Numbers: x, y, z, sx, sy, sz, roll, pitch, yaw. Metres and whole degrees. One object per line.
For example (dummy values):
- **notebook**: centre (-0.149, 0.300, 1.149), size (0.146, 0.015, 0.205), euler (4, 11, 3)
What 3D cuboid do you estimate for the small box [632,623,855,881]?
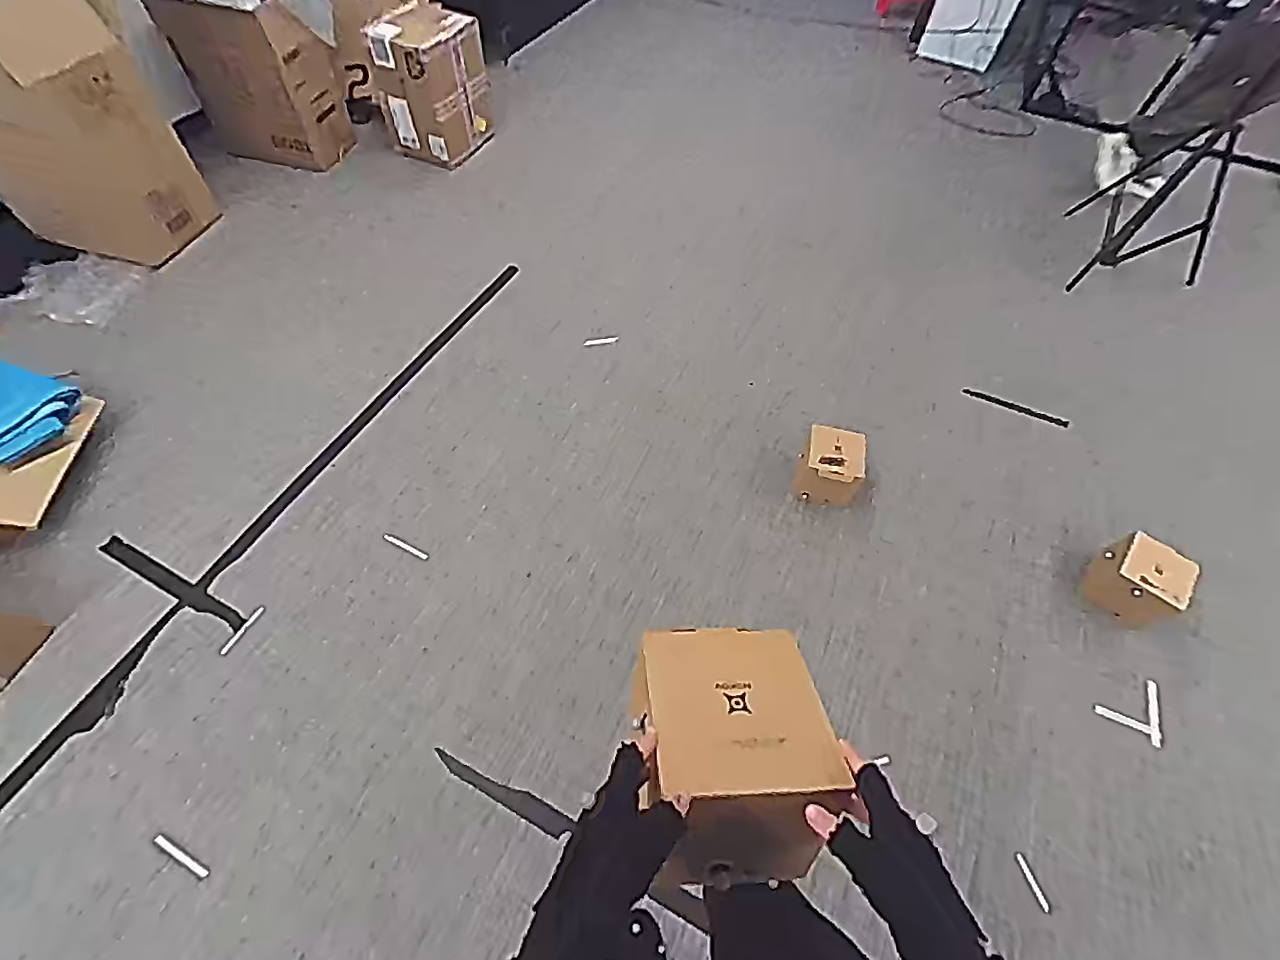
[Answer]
- **small box**: centre (0.085, 0.269, 0.553), size (0.168, 0.176, 0.179), euler (1, 32, -7)

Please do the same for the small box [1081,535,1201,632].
- **small box**: centre (1.397, 0.294, 1.518), size (0.168, 0.176, 0.179), euler (37, 63, 19)

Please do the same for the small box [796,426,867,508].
- **small box**: centre (0.593, -0.035, 1.689), size (0.168, 0.176, 0.179), euler (14, 57, 6)
